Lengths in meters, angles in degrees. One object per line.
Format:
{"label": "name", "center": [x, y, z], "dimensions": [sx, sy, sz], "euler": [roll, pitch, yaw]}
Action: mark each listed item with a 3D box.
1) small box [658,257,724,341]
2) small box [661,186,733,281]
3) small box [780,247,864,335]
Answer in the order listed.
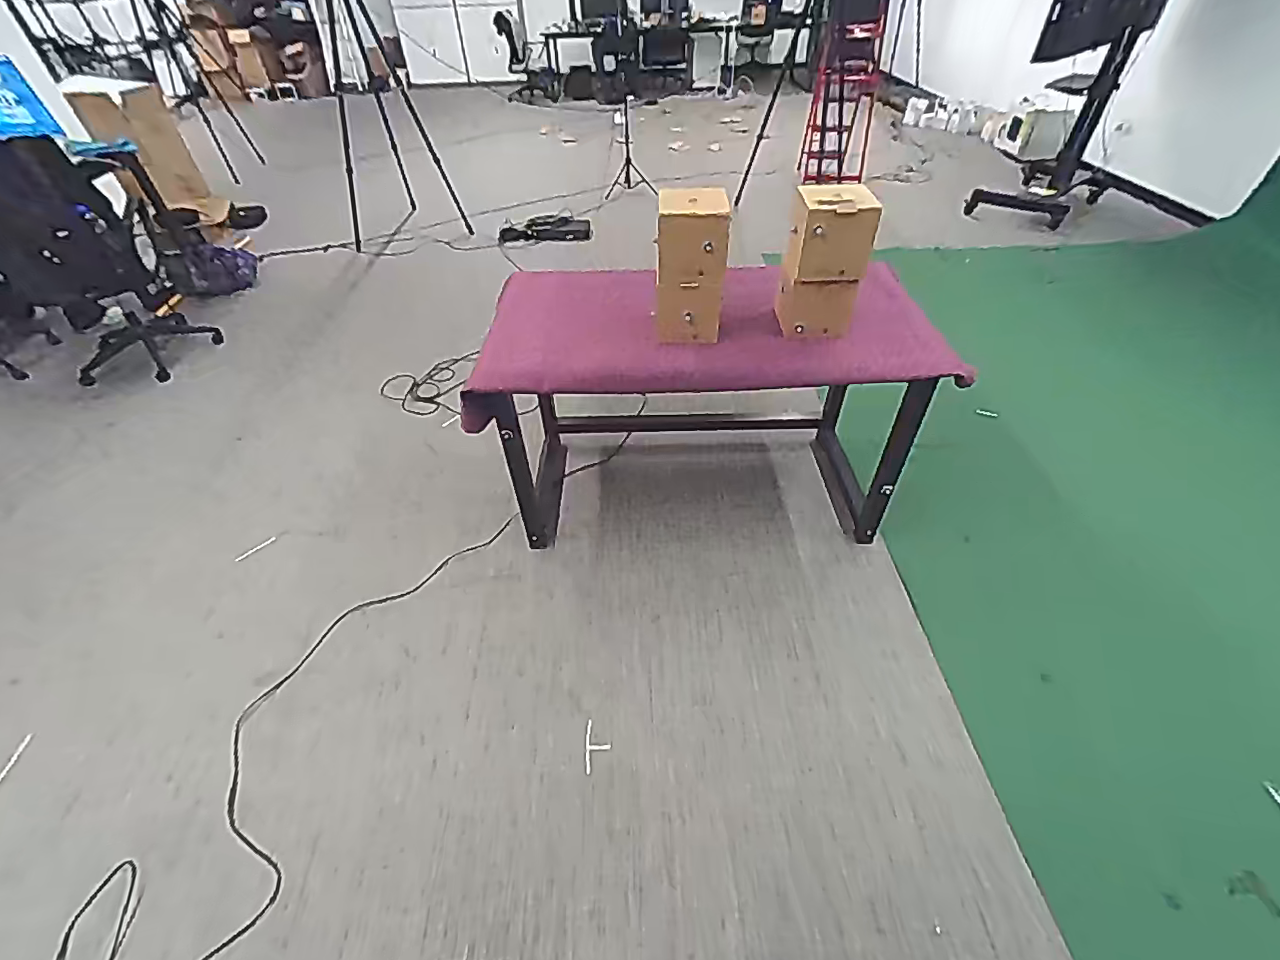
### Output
{"label": "small box", "center": [0.134, -0.486, 1.441], "dimensions": [0.168, 0.176, 0.179], "euler": [1, 45, 3]}
{"label": "small box", "center": [0.136, -0.603, 1.328], "dimensions": [0.168, 0.176, 0.179], "euler": [1, 45, 3]}
{"label": "small box", "center": [0.475, -0.501, 1.439], "dimensions": [0.168, 0.176, 0.179], "euler": [3, 45, 3]}
